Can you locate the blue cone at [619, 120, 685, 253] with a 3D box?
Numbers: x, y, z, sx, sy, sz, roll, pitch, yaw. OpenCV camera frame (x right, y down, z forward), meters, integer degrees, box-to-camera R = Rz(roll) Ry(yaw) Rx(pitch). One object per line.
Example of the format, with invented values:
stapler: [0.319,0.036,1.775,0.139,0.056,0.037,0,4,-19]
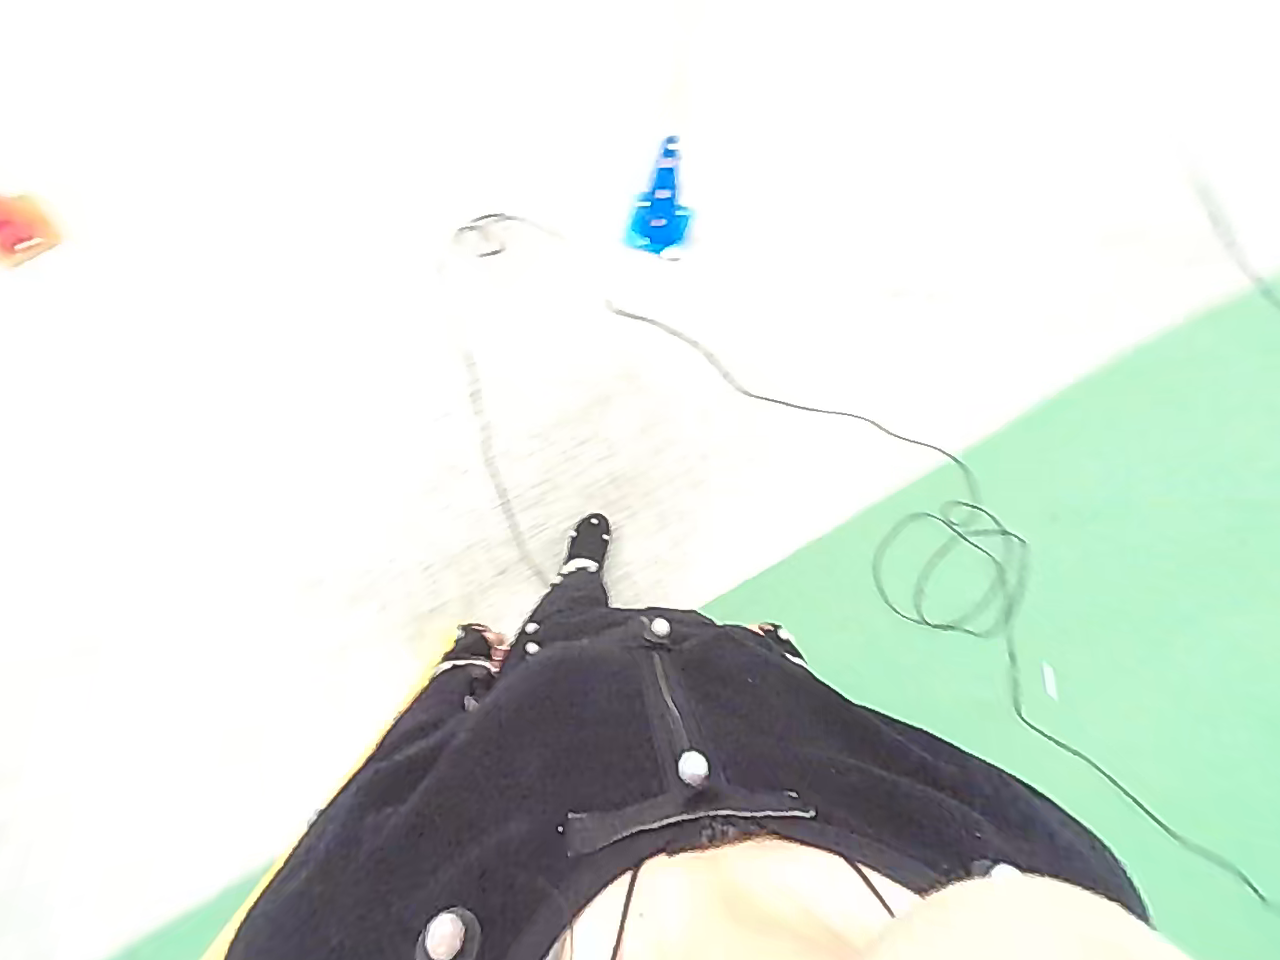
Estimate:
blue cone: [0.051,-0.842,1.526,0.192,0.380,0.193,15,76,-1]
